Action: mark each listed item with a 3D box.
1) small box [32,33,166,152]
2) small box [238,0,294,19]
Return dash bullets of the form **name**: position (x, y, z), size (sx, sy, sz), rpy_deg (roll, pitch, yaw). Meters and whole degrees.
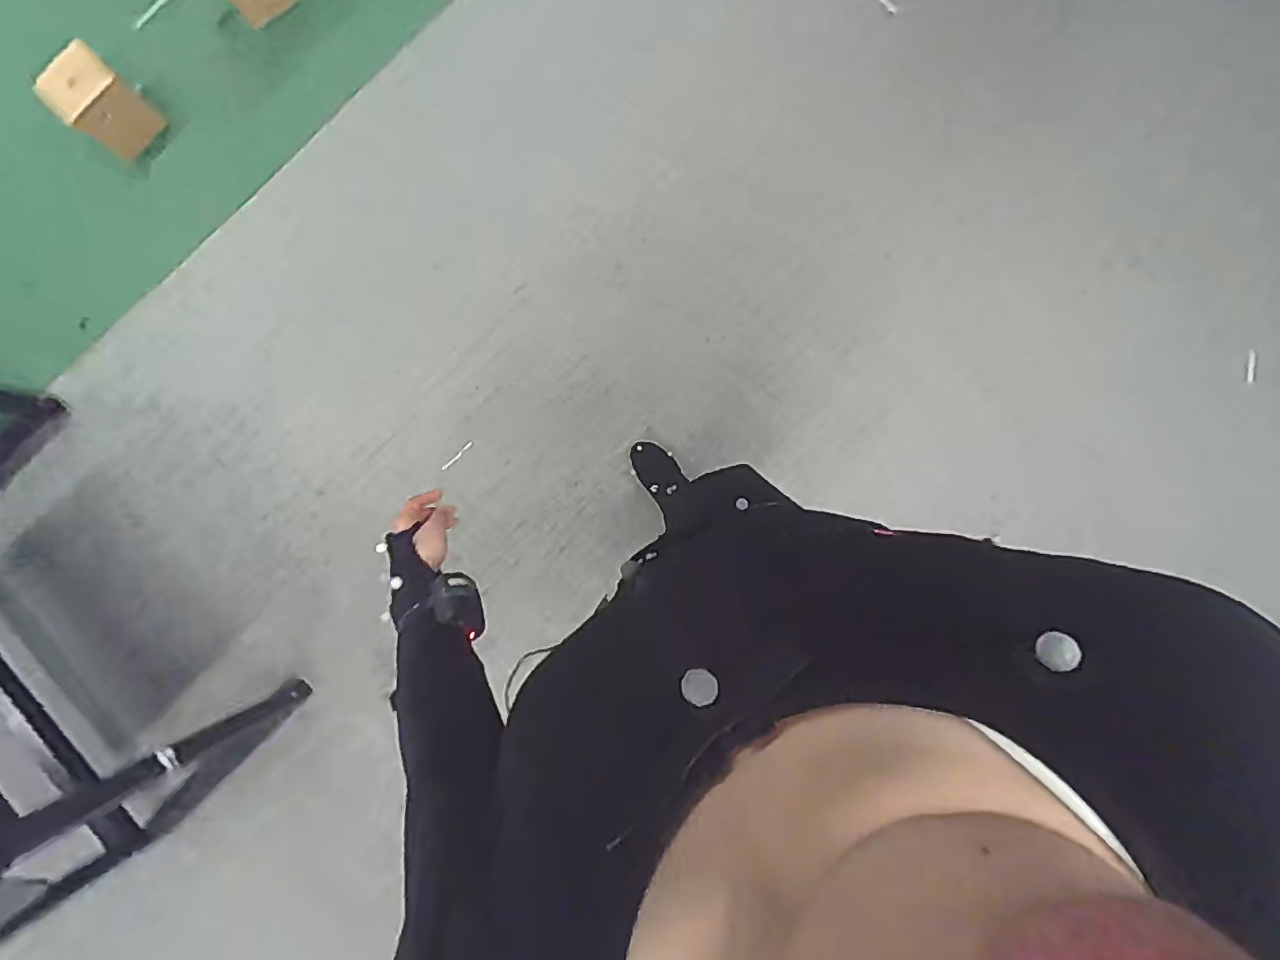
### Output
- **small box**: position (-1.509, -1.078, 1.522), size (0.179, 0.176, 0.168), rpy_deg (-44, 87, 0)
- **small box**: position (-1.113, -1.464, 1.527), size (0.168, 0.176, 0.179), rpy_deg (-35, 86, 0)
